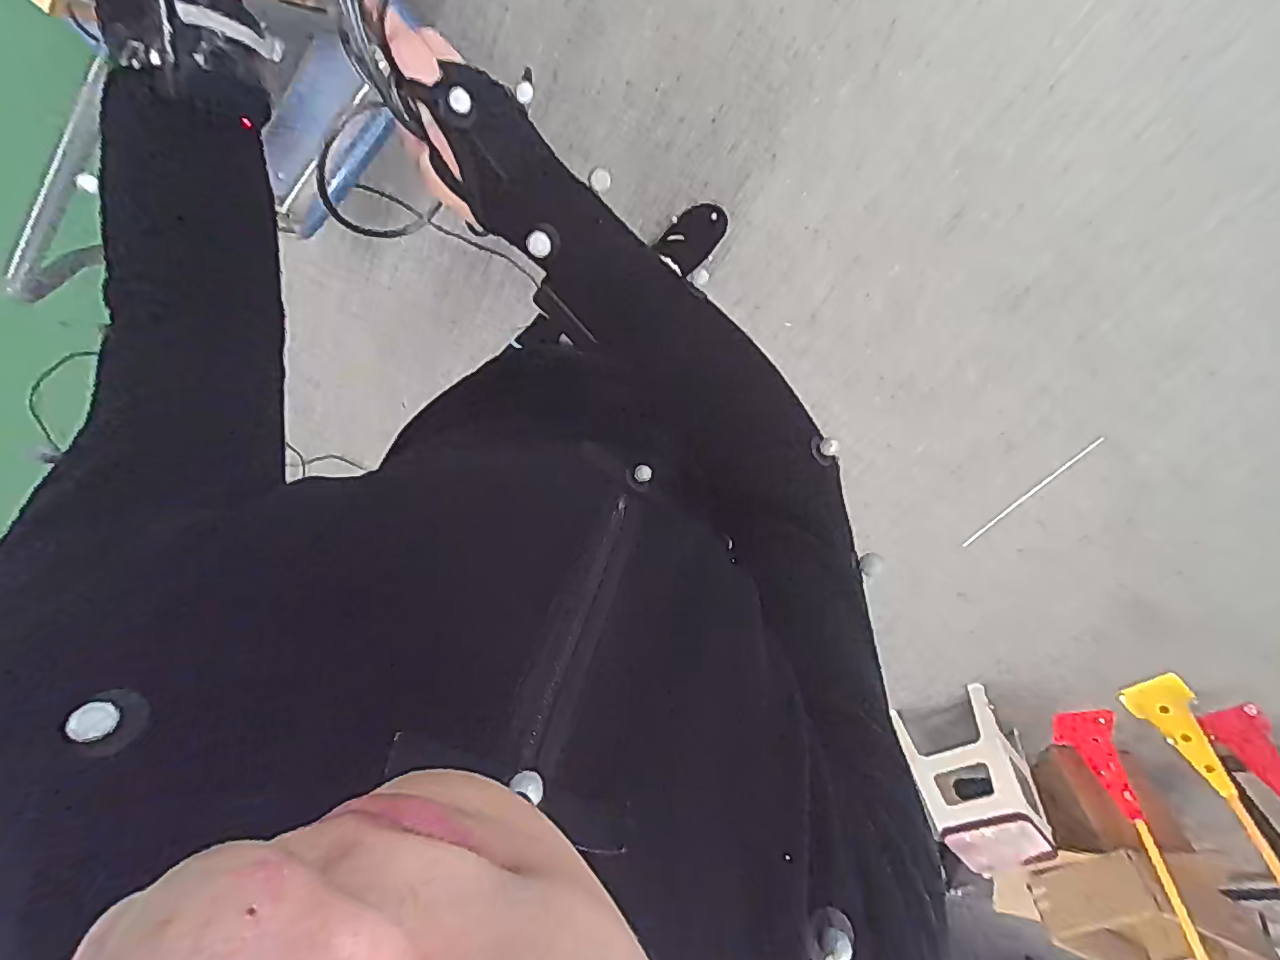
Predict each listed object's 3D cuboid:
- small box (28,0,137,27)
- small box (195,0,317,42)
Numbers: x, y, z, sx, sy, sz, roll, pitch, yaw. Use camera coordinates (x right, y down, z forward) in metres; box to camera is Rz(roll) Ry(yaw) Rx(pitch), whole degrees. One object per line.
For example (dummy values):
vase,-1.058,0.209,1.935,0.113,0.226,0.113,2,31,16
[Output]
small box,-1.070,-0.985,0.996,0.168,0.176,0.179,-37,111,26
small box,-0.723,-0.941,0.974,0.168,0.176,0.179,-31,114,25
